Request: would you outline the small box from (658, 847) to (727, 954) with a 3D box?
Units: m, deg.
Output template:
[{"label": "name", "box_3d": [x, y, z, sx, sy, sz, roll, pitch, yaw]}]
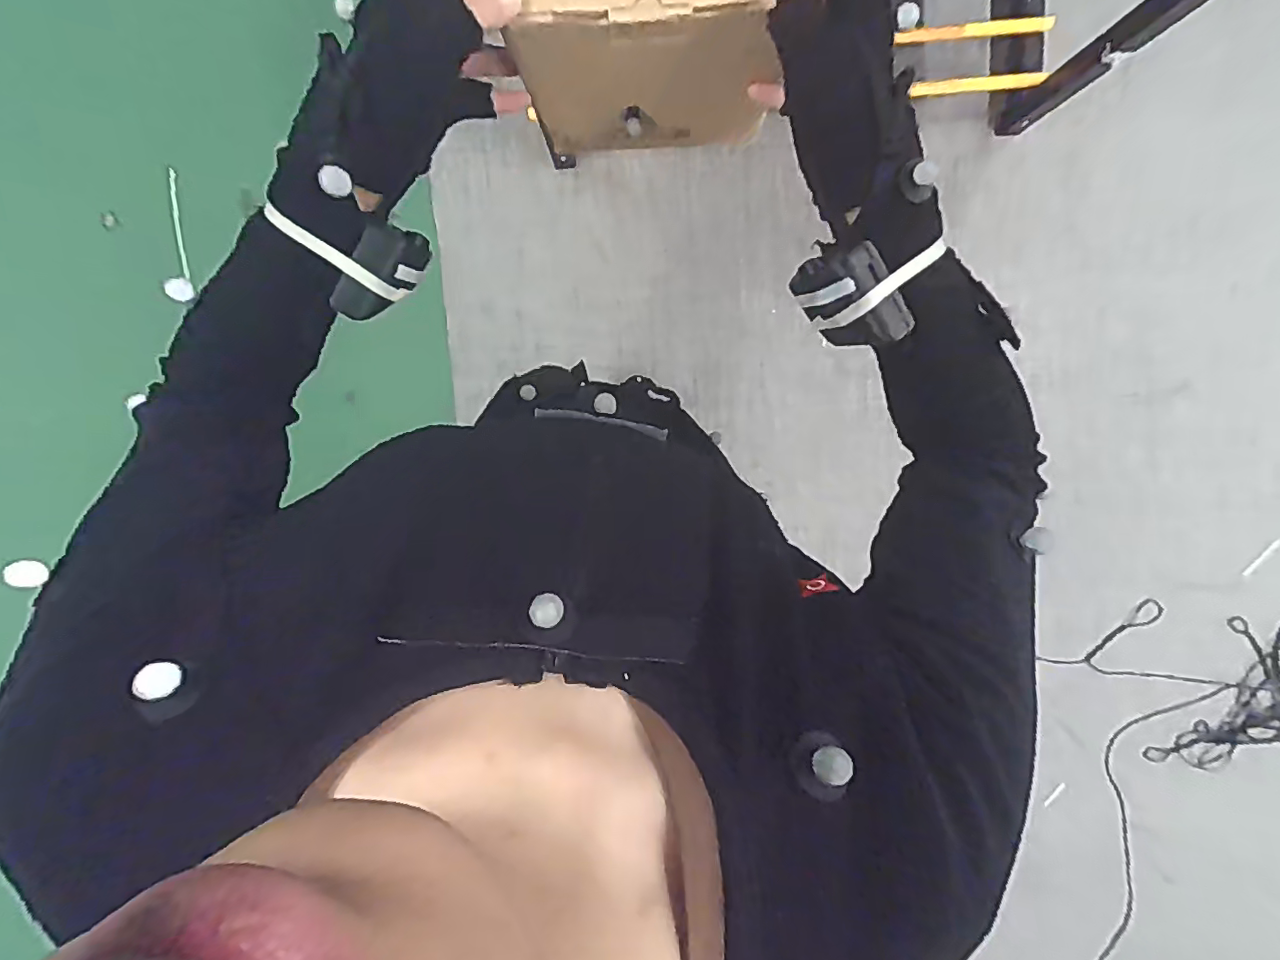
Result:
[{"label": "small box", "box_3d": [0.145, 1.194, 1.552, 0.168, 0.176, 0.179, -11, 98, 2]}]
